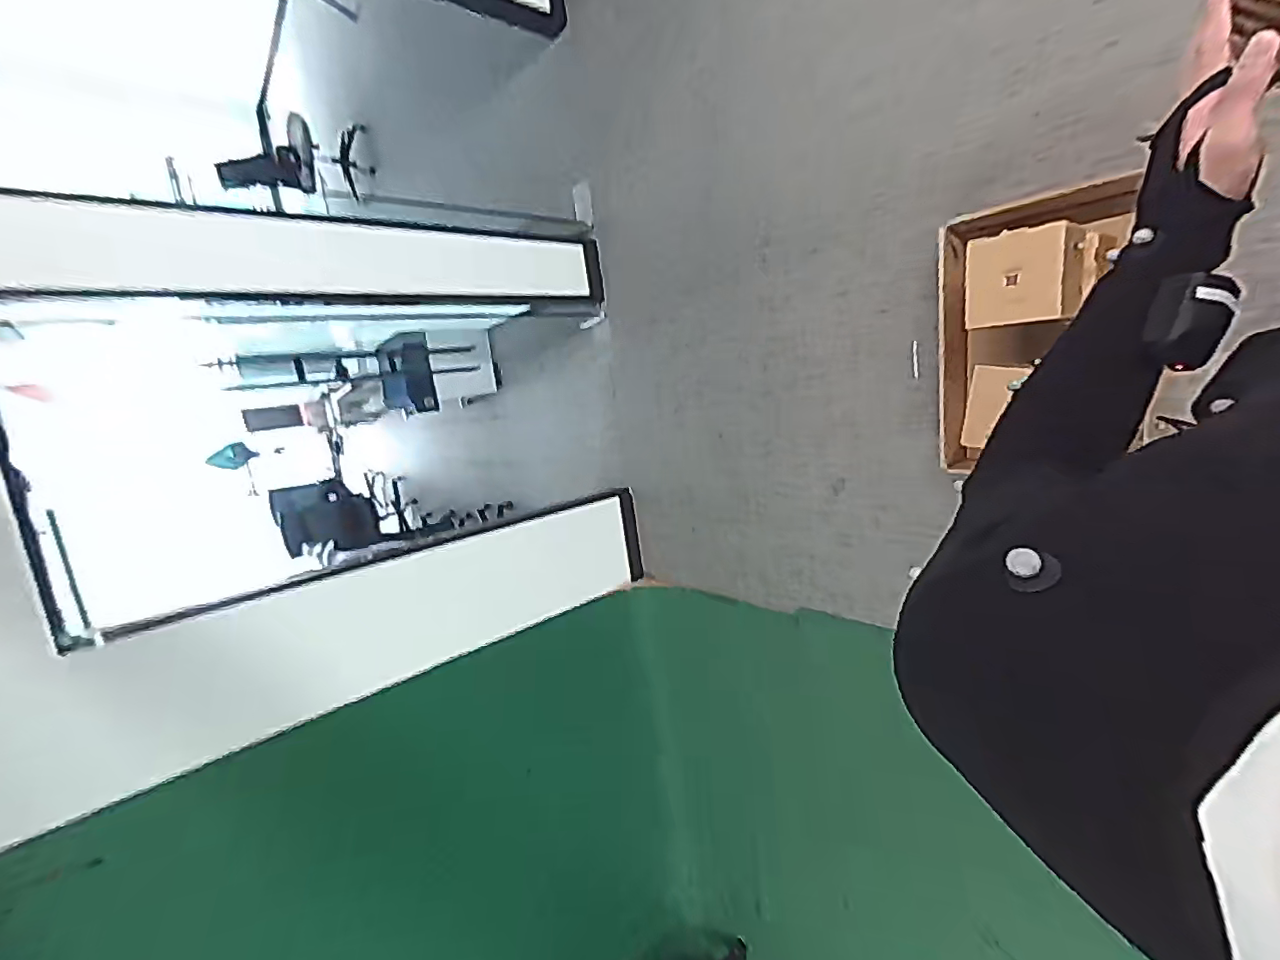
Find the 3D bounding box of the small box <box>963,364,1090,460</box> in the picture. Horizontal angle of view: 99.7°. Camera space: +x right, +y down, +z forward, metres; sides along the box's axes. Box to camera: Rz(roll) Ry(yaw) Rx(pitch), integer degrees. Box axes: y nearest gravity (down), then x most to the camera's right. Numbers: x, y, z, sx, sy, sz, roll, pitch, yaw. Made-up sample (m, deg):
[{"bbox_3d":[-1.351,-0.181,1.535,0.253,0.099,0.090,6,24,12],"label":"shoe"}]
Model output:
[{"bbox_3d":[0.822,-0.153,1.148,0.168,0.176,0.179,20,115,47],"label":"small box"}]
